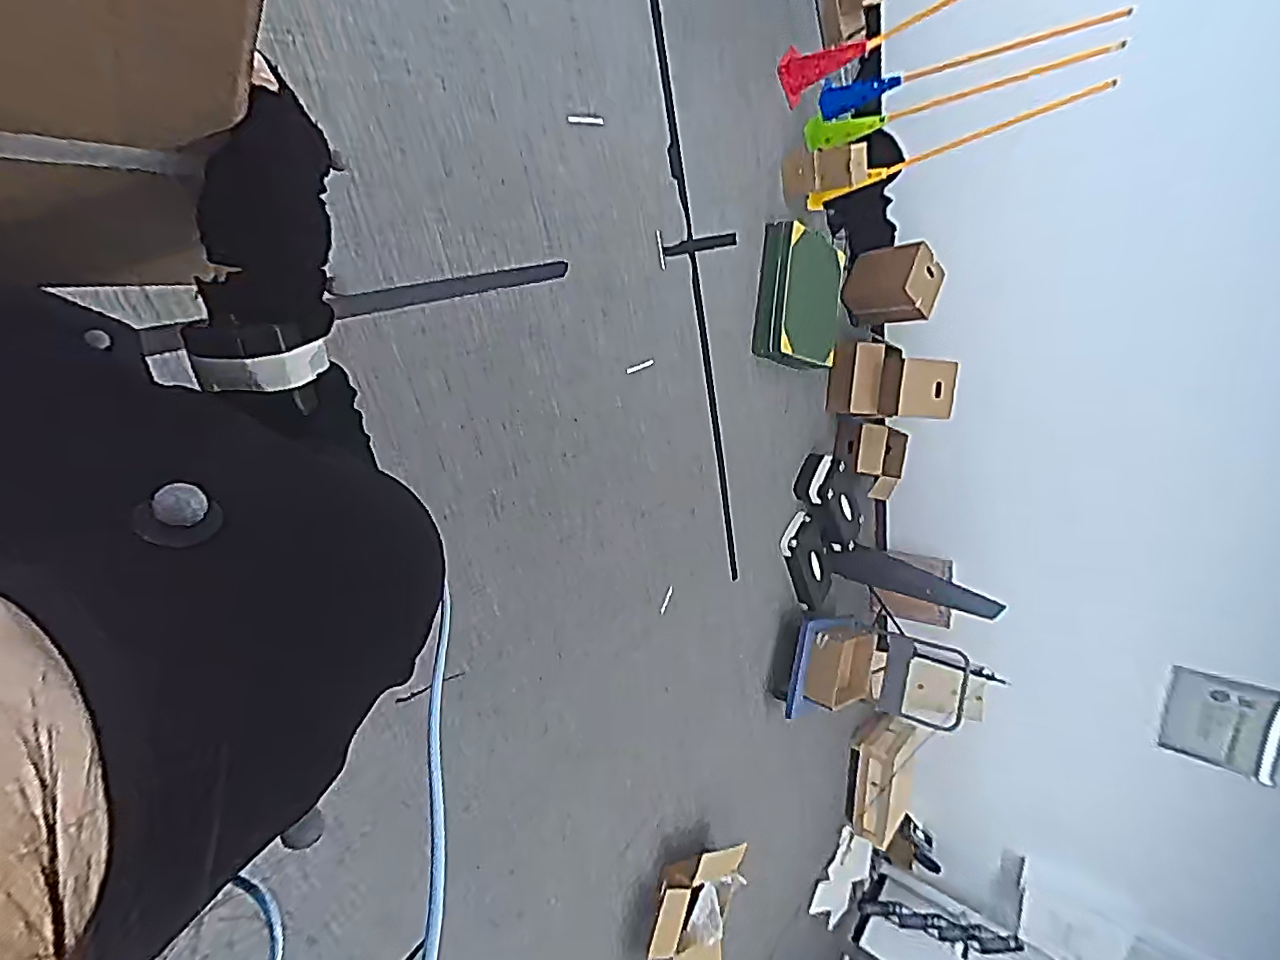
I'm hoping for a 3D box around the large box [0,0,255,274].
[{"bbox_3d":[-0.416,-0.276,0.167,0.408,0.320,0.320,-22,96,-42],"label":"large box"}]
